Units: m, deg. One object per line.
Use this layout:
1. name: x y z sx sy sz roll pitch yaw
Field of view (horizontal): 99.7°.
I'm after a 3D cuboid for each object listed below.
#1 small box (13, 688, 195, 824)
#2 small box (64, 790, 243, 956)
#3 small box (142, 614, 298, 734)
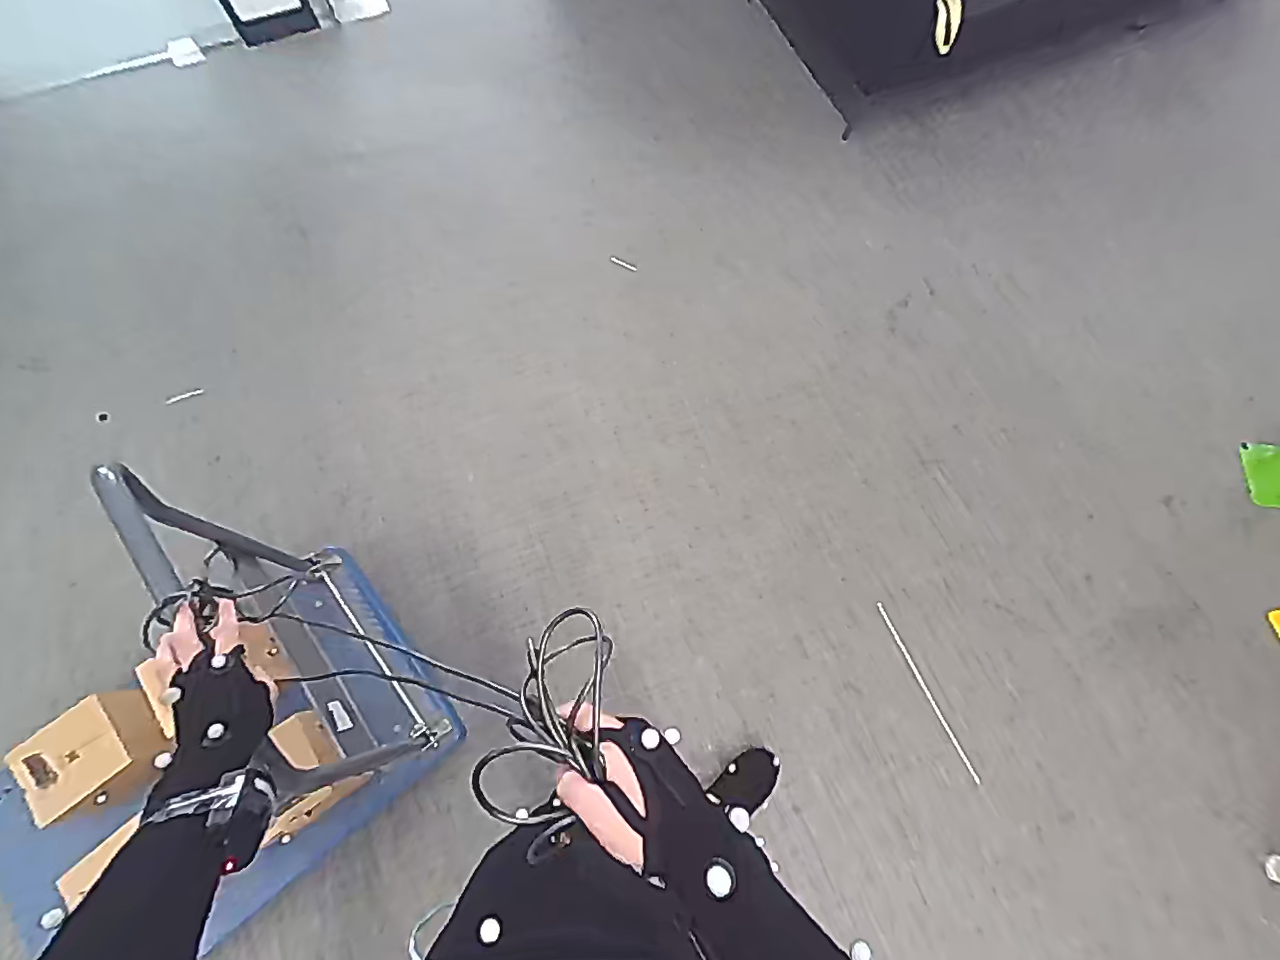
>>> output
1. small box: -1.082 0.551 1.108 0.179 0.176 0.168 -39 77 -14
2. small box: -0.922 0.742 1.049 0.179 0.176 0.168 -41 76 -13
3. small box: -0.889 0.412 1.160 0.179 0.176 0.168 -35 76 -12
